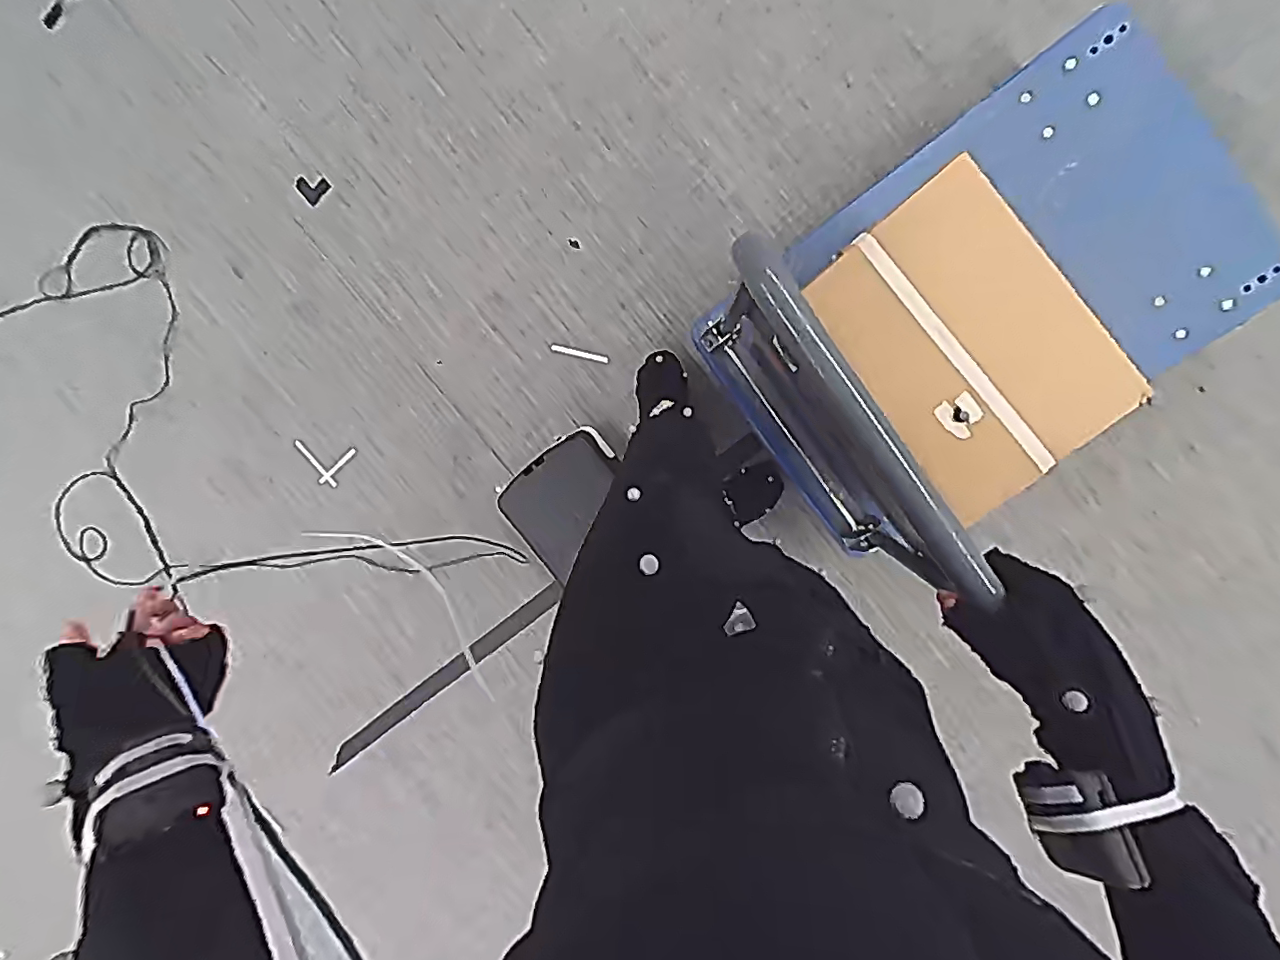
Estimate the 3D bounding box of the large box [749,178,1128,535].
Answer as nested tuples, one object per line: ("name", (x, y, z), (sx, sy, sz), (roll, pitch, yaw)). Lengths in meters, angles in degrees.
("large box", (0.437, -0.185, 0.897), (0.320, 0.320, 0.408), (-40, 93, 12))
